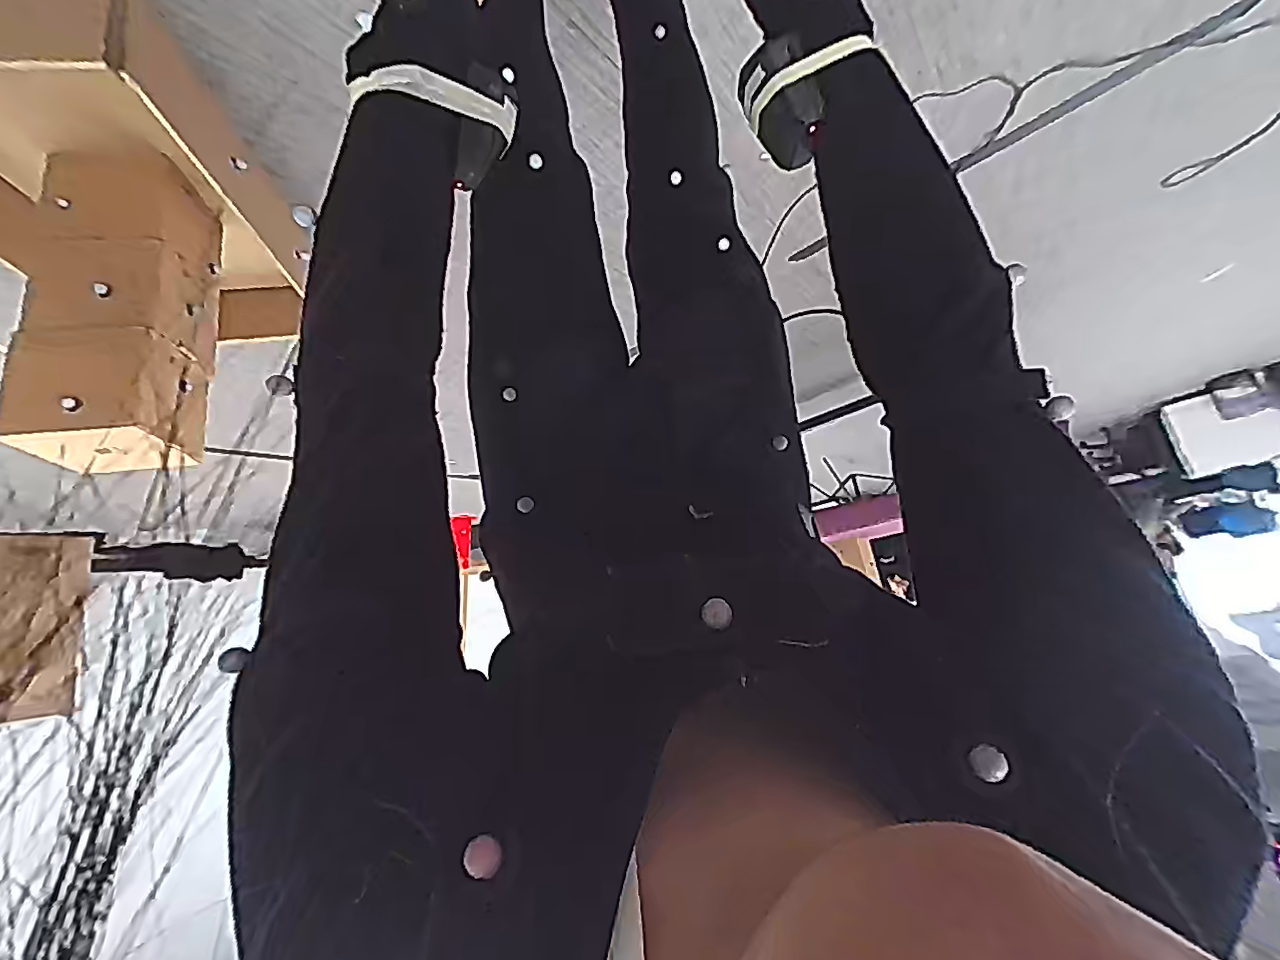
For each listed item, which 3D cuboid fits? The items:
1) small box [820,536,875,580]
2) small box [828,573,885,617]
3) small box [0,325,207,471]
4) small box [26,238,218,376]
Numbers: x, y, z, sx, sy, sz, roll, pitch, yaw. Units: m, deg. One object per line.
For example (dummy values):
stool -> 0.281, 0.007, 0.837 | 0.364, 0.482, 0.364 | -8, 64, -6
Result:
small box -> 0.938, 0.353, 2.445 | 0.168, 0.176, 0.179 | -22, 160, 35
small box -> 0.966, 0.509, 2.410 | 0.168, 0.176, 0.179 | -24, 159, 37
small box -> -0.822, -0.126, 0.847 | 0.179, 0.176, 0.168 | -7, 164, -12
small box -> -0.843, -0.281, 0.898 | 0.179, 0.176, 0.168 | -7, 164, -13
